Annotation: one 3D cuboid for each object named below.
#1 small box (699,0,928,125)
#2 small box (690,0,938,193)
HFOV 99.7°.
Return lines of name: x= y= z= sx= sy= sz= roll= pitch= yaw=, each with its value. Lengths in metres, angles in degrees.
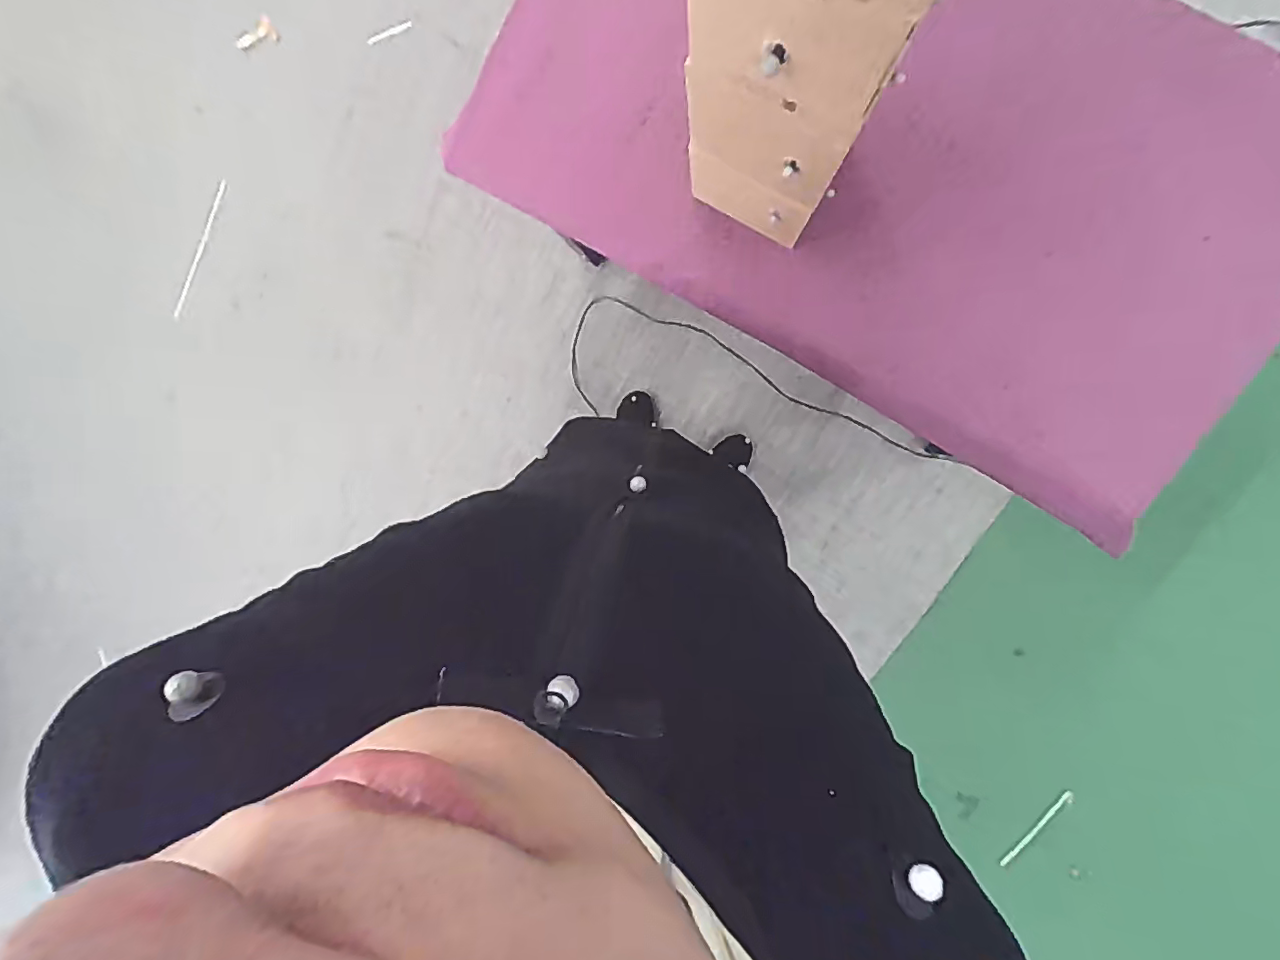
small box: x=0.152 y=-0.417 z=0.407 sx=0.168 sy=0.176 sz=0.179 roll=29 pitch=101 yaw=2
small box: x=0.170 y=-0.435 z=0.567 sx=0.179 sy=0.176 sz=0.168 roll=31 pitch=101 yaw=3
